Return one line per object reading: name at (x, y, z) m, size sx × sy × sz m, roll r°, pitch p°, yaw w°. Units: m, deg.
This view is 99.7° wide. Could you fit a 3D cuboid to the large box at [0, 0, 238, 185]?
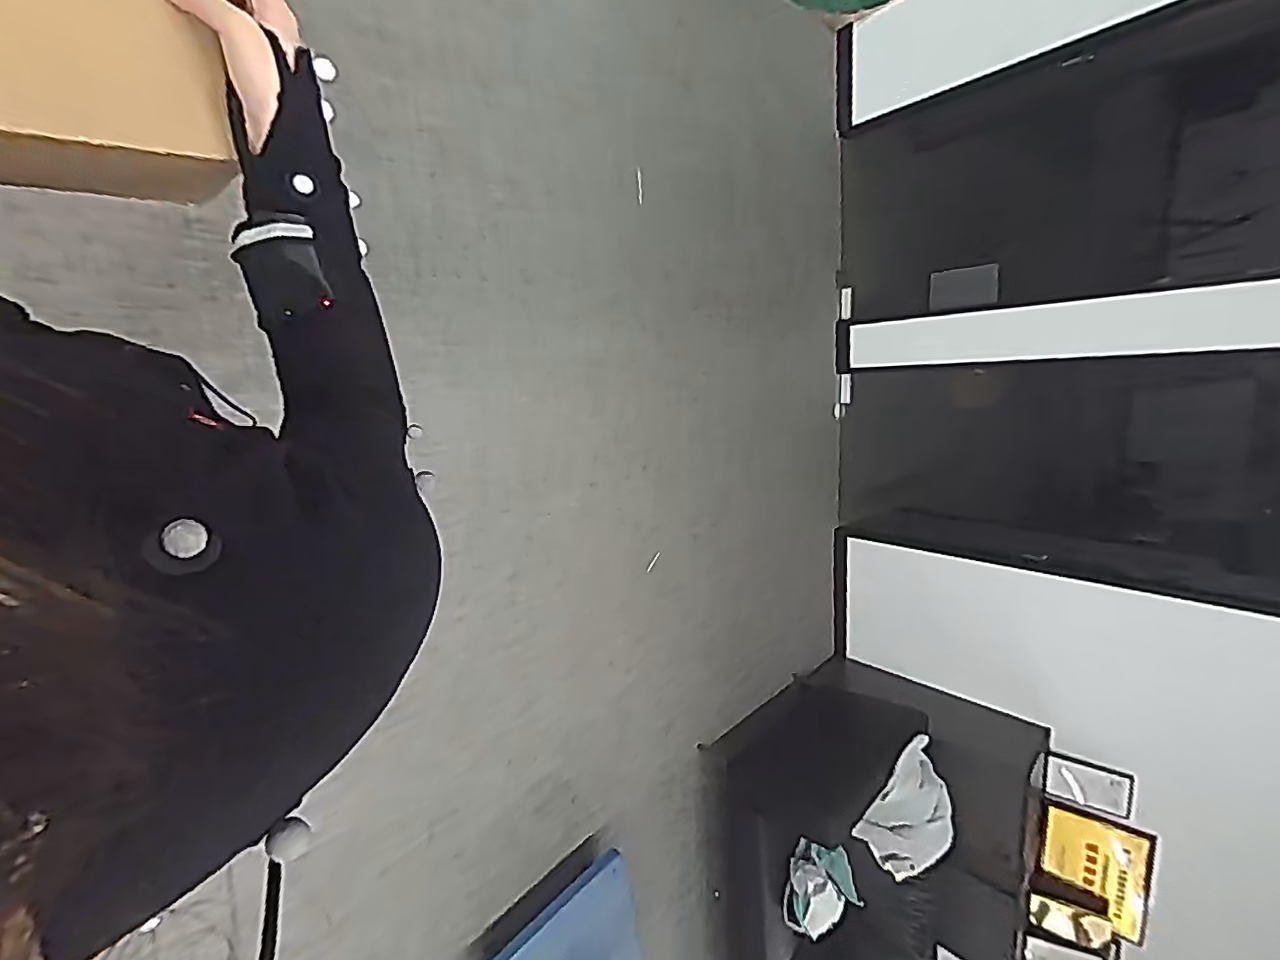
large box at (-0.546, -0.388, 0.340) m, size 0.408 × 0.320 × 0.320 m, roll -16°, pitch 116°, yaw -38°
